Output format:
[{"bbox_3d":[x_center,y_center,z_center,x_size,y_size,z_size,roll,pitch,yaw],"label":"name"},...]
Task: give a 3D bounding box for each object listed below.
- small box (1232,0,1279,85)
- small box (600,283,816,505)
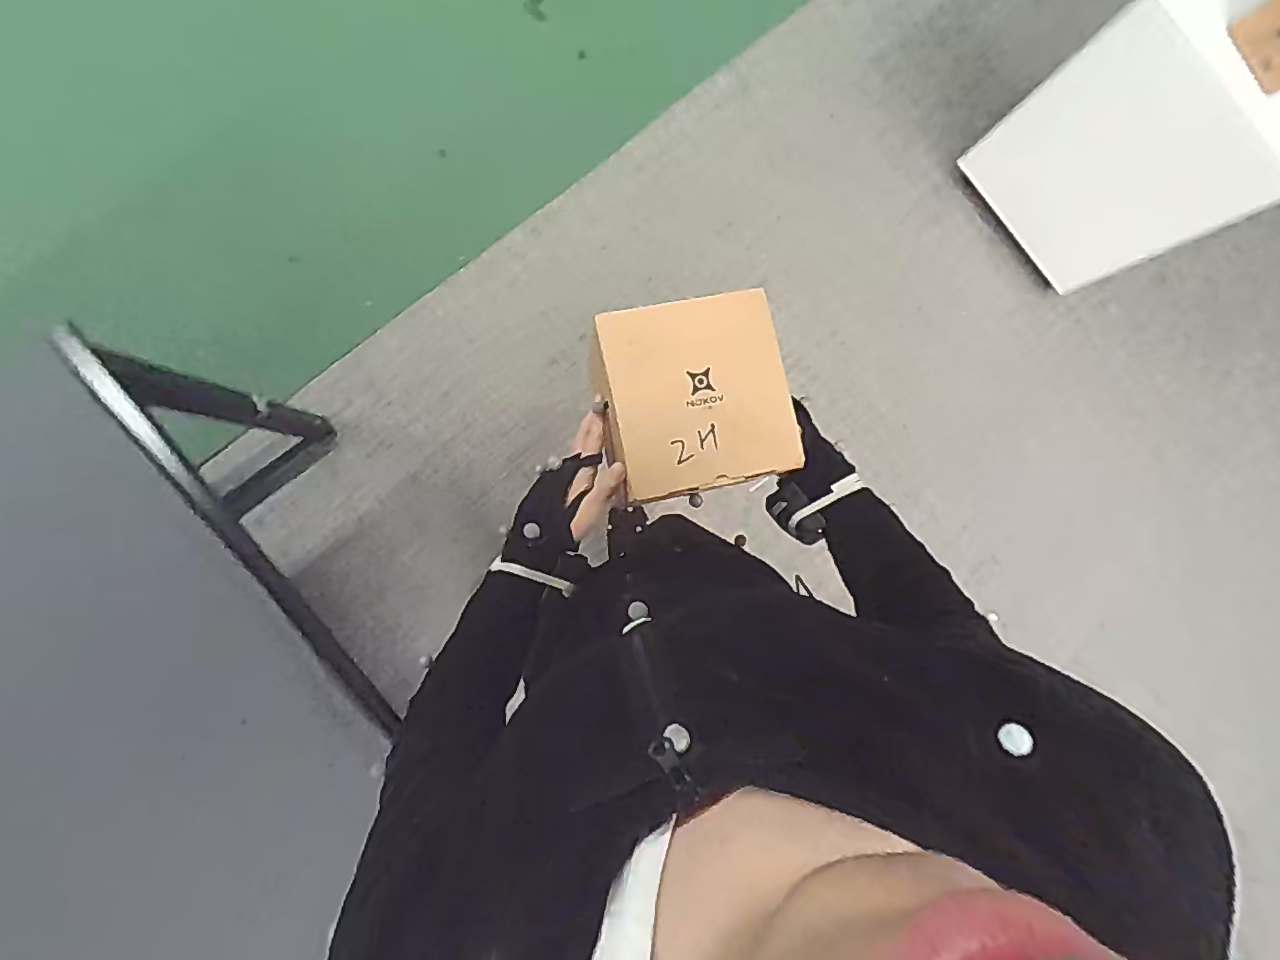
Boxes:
[{"bbox_3d":[1.273,-0.887,0.990,0.179,0.176,0.168,-35,91,-6],"label":"small box"},{"bbox_3d":[0.055,-0.077,0.566,0.168,0.176,0.179,-11,85,-8],"label":"small box"}]
